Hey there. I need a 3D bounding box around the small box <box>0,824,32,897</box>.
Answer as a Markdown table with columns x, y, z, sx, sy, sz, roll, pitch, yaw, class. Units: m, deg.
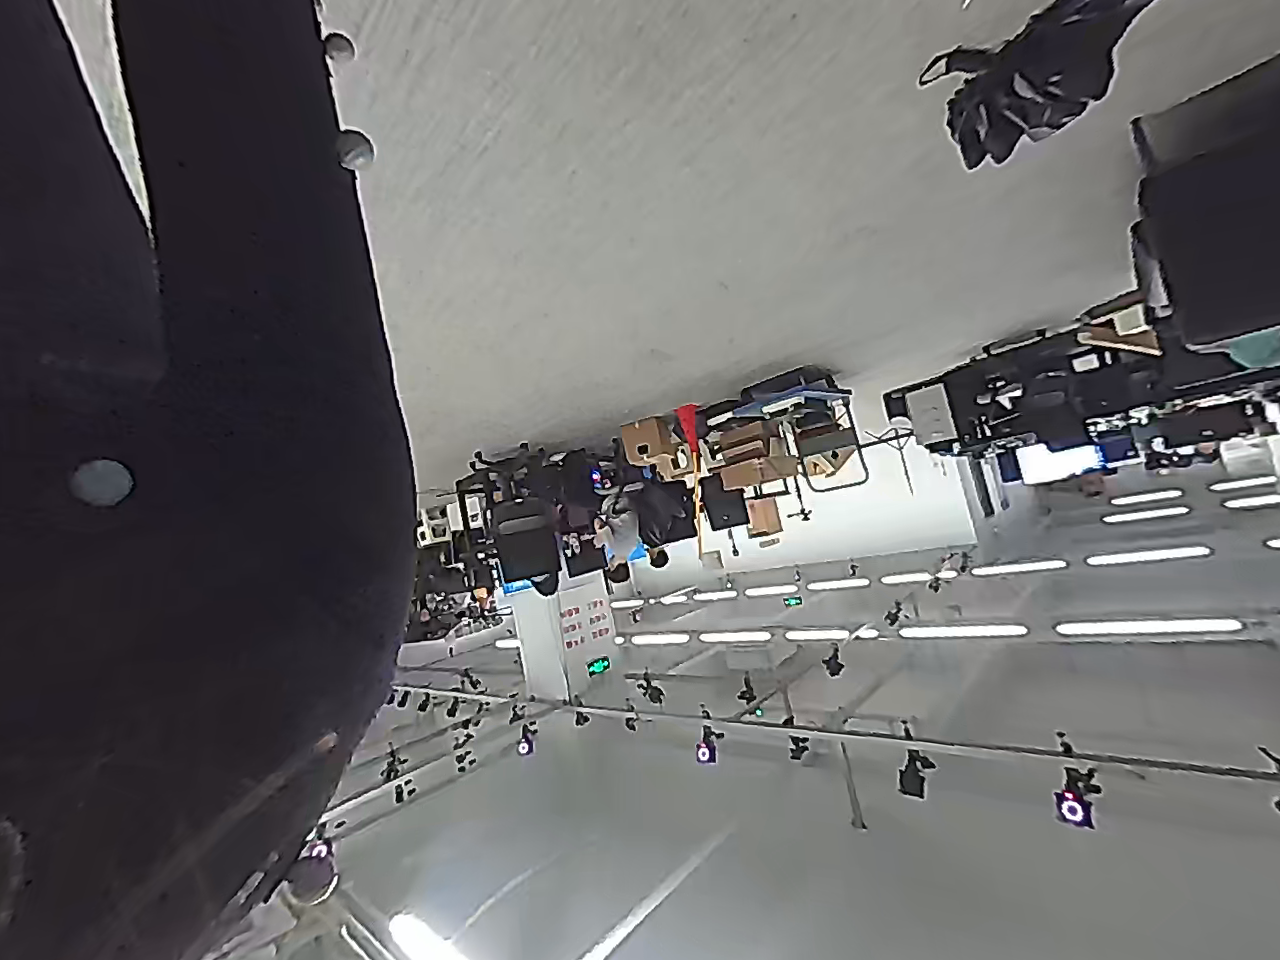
| x | y | z | sx | sy | sz | roll | pitch | yaw | class |
| --- | --- | --- | --- | --- | --- | --- | --- | --- | --- |
| -2.129 | 1.267 | 1.774 | 0.179 | 0.176 | 0.168 | -17 | 174 | 44 | small box |
